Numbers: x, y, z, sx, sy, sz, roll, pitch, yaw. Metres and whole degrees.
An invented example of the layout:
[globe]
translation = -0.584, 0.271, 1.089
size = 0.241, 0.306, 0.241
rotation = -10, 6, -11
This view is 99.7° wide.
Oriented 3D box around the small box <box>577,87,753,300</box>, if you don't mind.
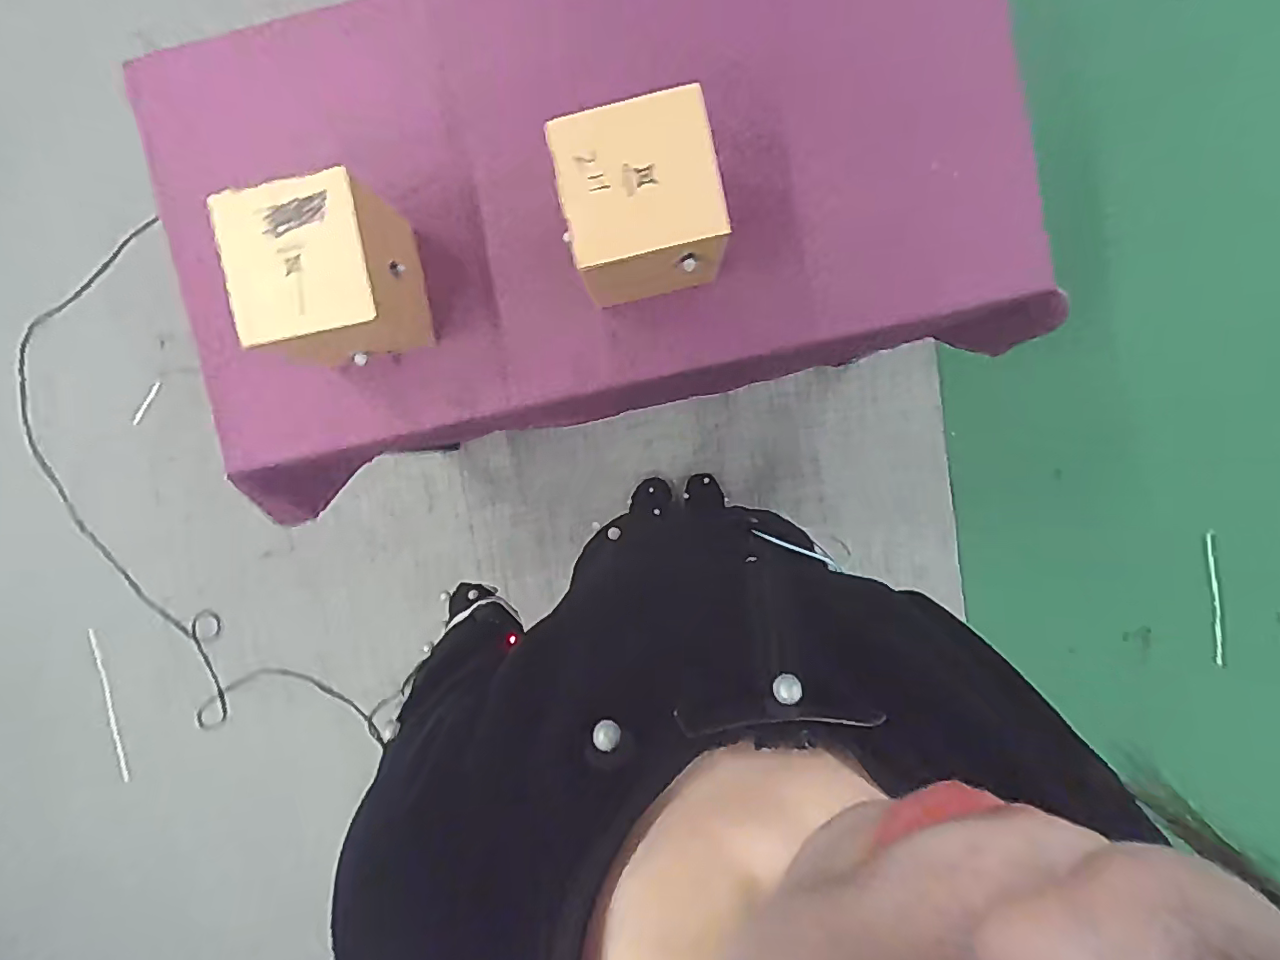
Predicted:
[small box]
translation = 0.030, -0.338, 0.674
size = 0.179, 0.176, 0.168
rotation = -9, 93, 4
